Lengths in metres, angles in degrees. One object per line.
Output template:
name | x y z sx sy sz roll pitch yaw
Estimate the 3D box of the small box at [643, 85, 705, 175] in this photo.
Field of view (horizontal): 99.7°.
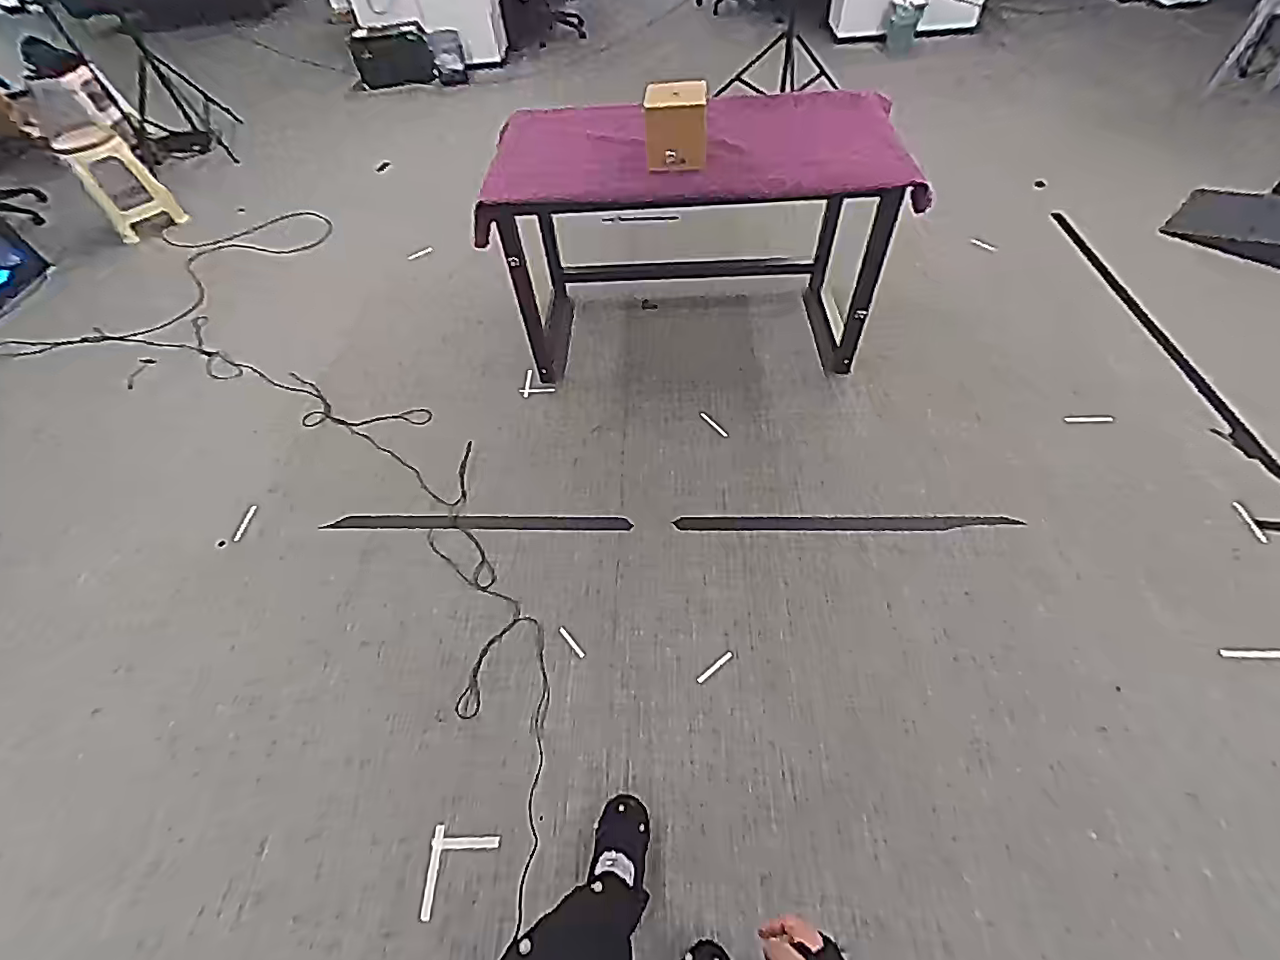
small box | 0.101 -0.994 1.539 0.168 0.176 0.179 0 53 6
